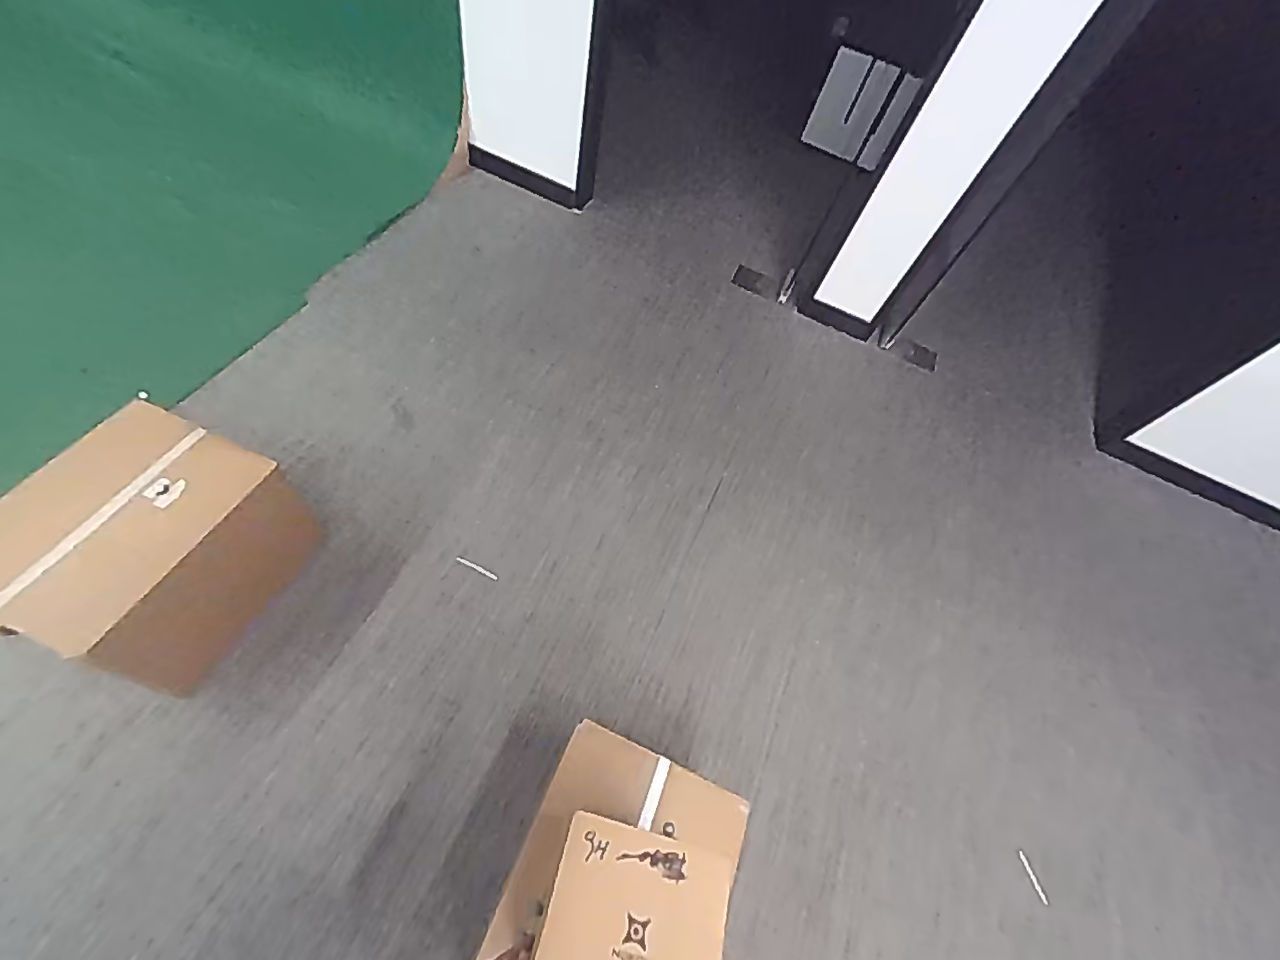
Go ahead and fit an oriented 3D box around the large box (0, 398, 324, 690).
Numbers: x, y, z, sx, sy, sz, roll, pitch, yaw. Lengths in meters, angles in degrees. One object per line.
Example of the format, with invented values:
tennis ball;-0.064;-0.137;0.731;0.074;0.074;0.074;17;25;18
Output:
large box;-0.917;0.128;1.044;0.320;0.320;0.408;25;56;3

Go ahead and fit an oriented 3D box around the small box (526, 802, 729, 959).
small box;-0.020;0.457;0.559;0.168;0.176;0.179;16;55;1
